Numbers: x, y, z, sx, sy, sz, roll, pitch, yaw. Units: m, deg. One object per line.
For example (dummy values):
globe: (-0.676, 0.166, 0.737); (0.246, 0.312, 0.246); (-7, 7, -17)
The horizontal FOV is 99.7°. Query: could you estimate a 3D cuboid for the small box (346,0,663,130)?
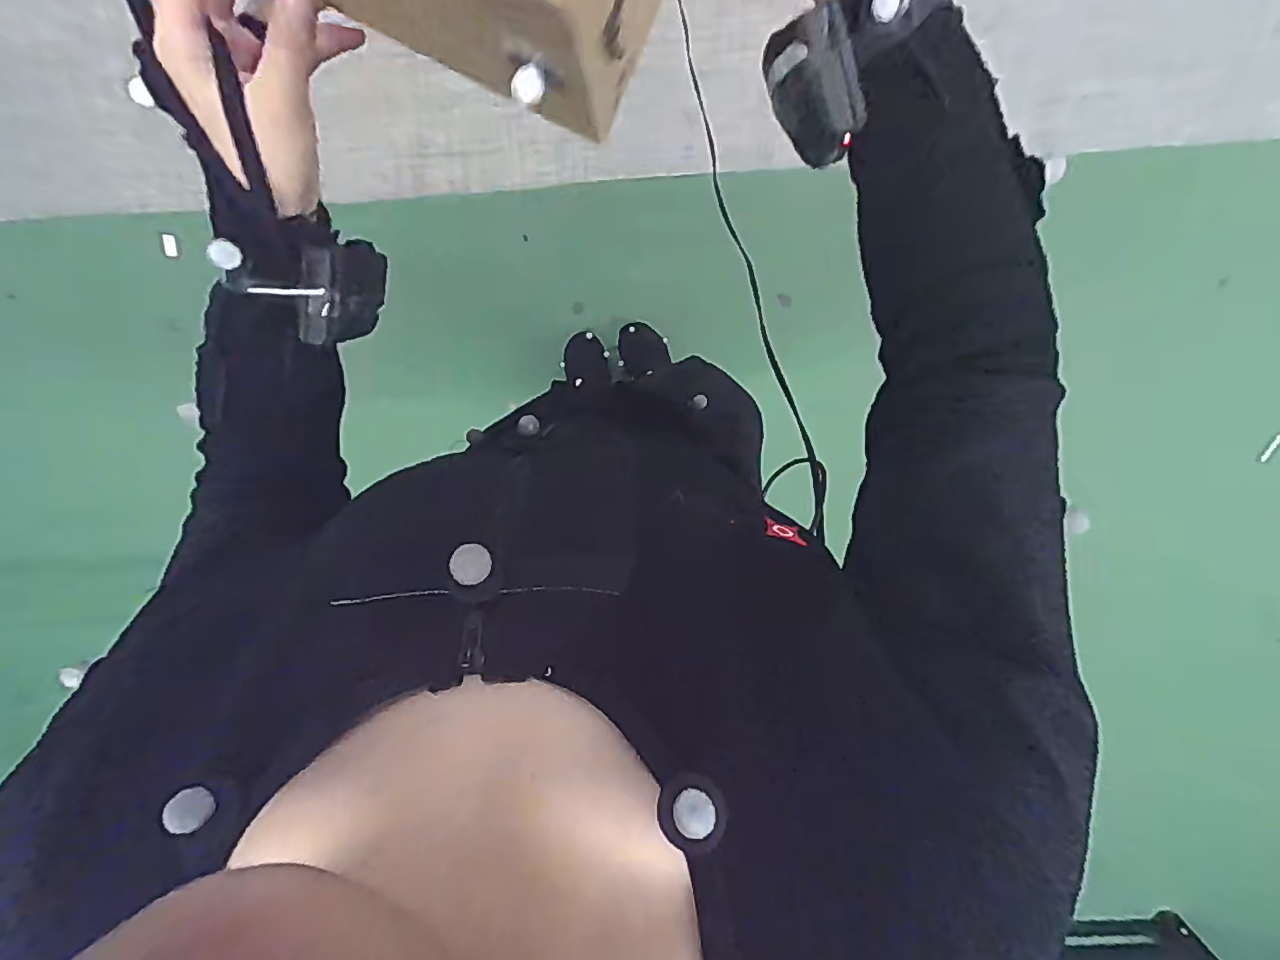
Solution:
small box: (-0.055, -0.271, 0.188); (0.176, 0.168, 0.179); (21, 108, -8)
